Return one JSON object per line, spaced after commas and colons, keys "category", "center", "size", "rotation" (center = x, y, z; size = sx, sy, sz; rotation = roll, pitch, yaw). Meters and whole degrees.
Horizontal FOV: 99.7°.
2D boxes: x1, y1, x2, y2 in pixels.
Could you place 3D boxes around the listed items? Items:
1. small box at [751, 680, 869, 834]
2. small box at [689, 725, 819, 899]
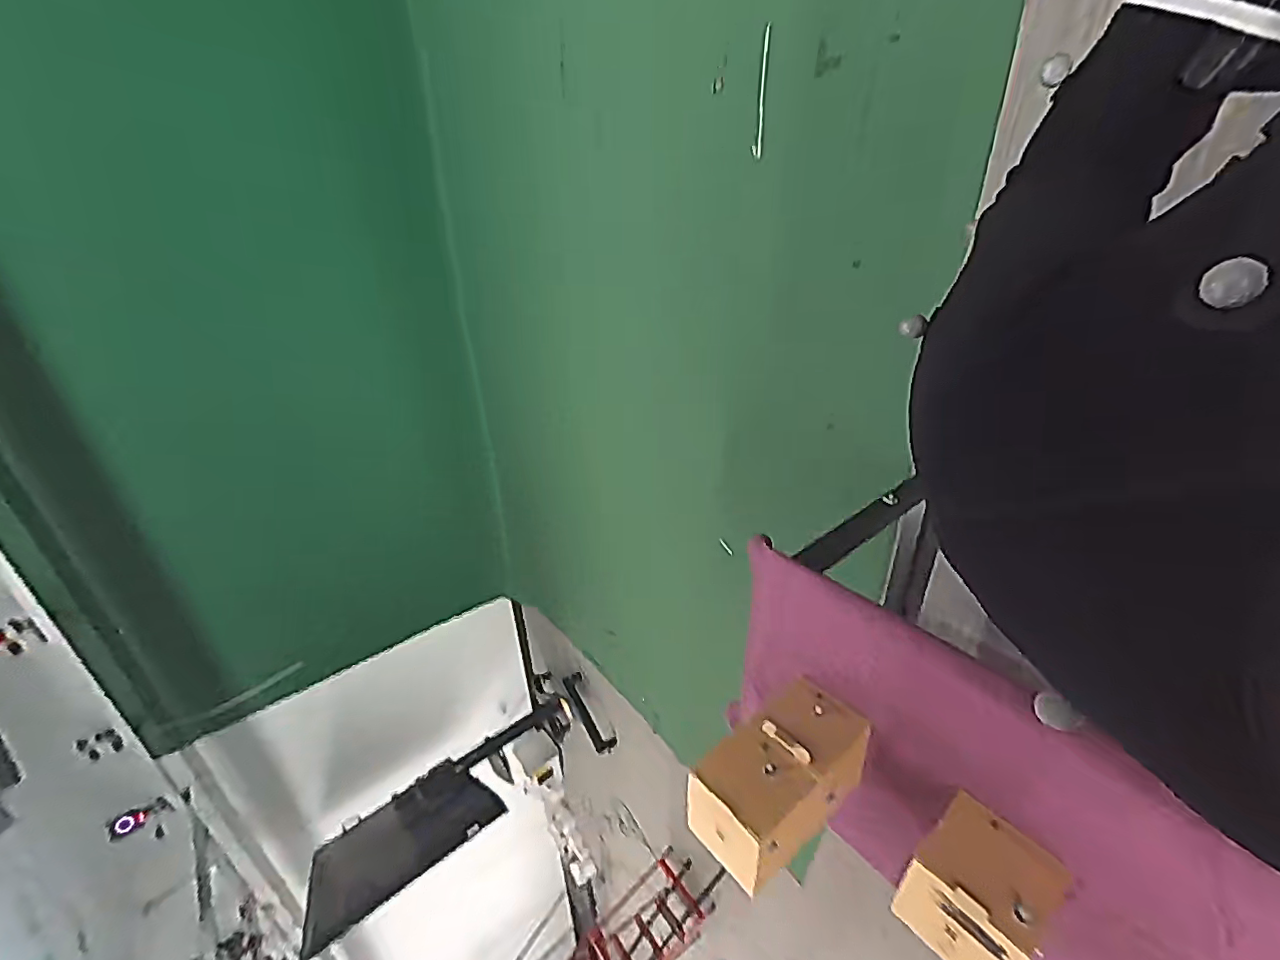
{"category": "small box", "center": [0.335, 0.544, 1.082], "size": [0.168, 0.176, 0.179], "rotation": [26, 129, 43]}
{"category": "small box", "center": [0.208, 0.600, 0.996], "size": [0.168, 0.176, 0.179], "rotation": [27, 129, 44]}
